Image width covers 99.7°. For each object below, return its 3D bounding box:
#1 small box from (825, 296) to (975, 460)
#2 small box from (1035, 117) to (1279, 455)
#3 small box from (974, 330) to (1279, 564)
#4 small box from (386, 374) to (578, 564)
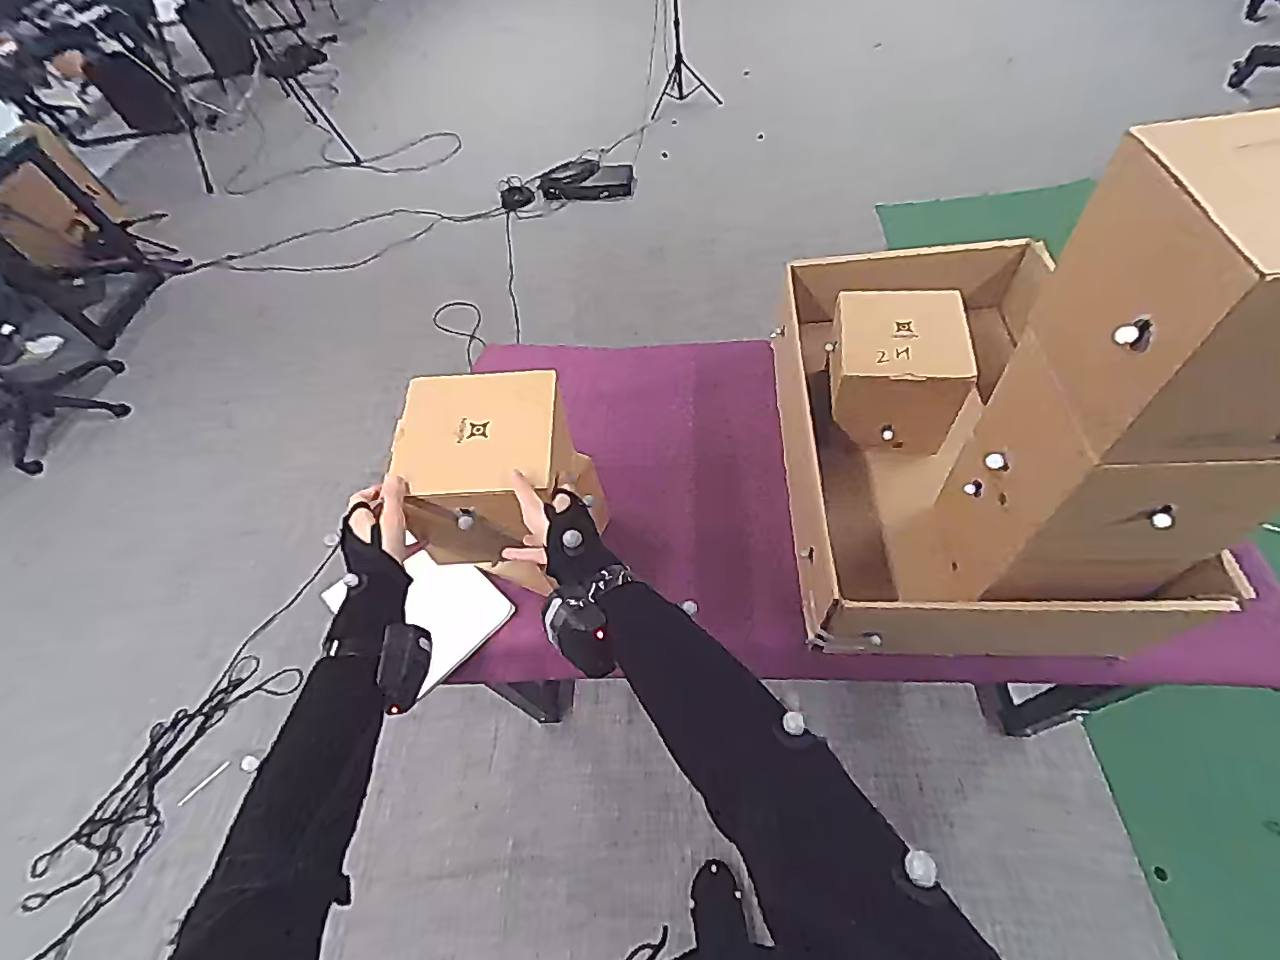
[{"bbox_3d":[0.376,-0.154,0.816,0.168,0.176,0.179,5,57,13],"label":"small box"},{"bbox_3d":[0.428,-0.129,0.386,0.168,0.176,0.179,-1,54,10],"label":"small box"},{"bbox_3d":[0.455,-0.030,0.513,0.179,0.176,0.168,-2,55,11],"label":"small box"},{"bbox_3d":[-0.172,-0.007,0.657,0.179,0.176,0.168,-4,57,1],"label":"small box"}]
